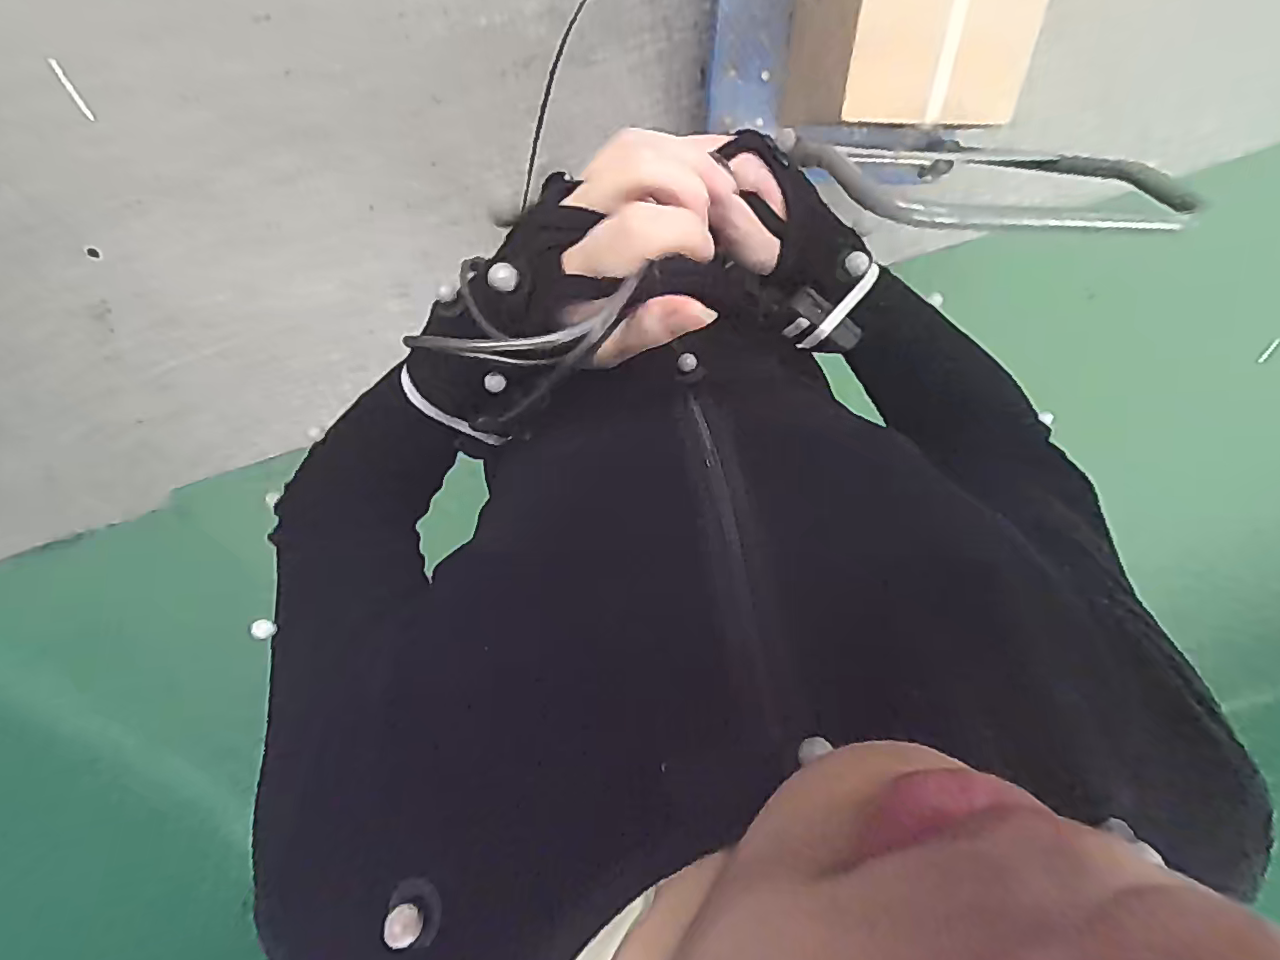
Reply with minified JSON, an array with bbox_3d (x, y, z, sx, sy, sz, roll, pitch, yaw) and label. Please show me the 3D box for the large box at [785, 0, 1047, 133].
[{"bbox_3d":[0.472,-0.849,0.942,0.320,0.320,0.408,-3,121,-7],"label":"large box"}]
